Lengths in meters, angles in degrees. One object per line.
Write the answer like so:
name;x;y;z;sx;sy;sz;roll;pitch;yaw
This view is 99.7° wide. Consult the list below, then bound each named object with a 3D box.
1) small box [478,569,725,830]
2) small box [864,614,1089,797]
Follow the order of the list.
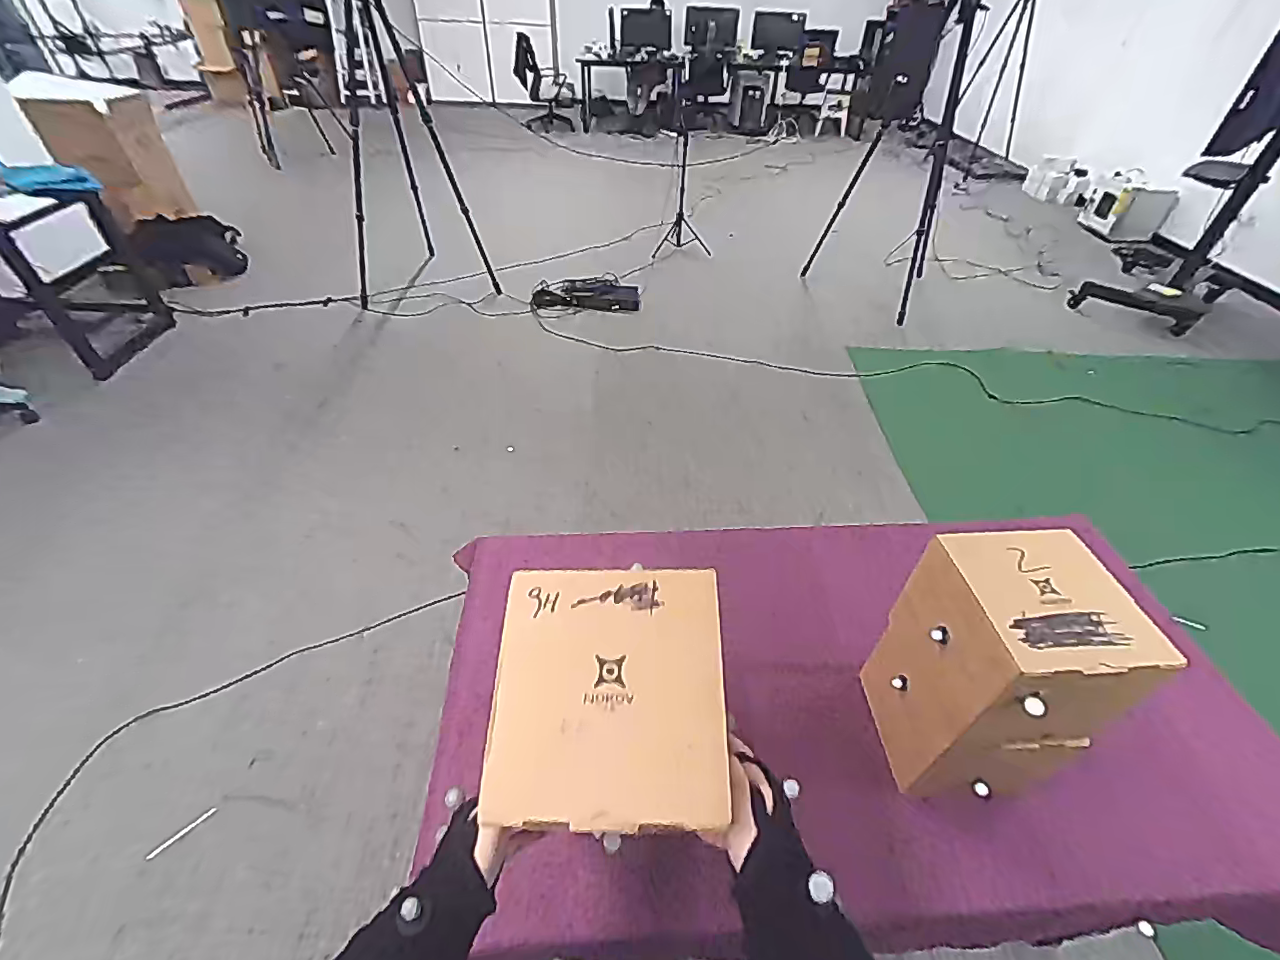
small box;-0.020;0.186;0.457;0.168;0.176;0.179;-1;59;2
small box;0.424;0.300;0.723;0.168;0.176;0.179;0;43;-1
